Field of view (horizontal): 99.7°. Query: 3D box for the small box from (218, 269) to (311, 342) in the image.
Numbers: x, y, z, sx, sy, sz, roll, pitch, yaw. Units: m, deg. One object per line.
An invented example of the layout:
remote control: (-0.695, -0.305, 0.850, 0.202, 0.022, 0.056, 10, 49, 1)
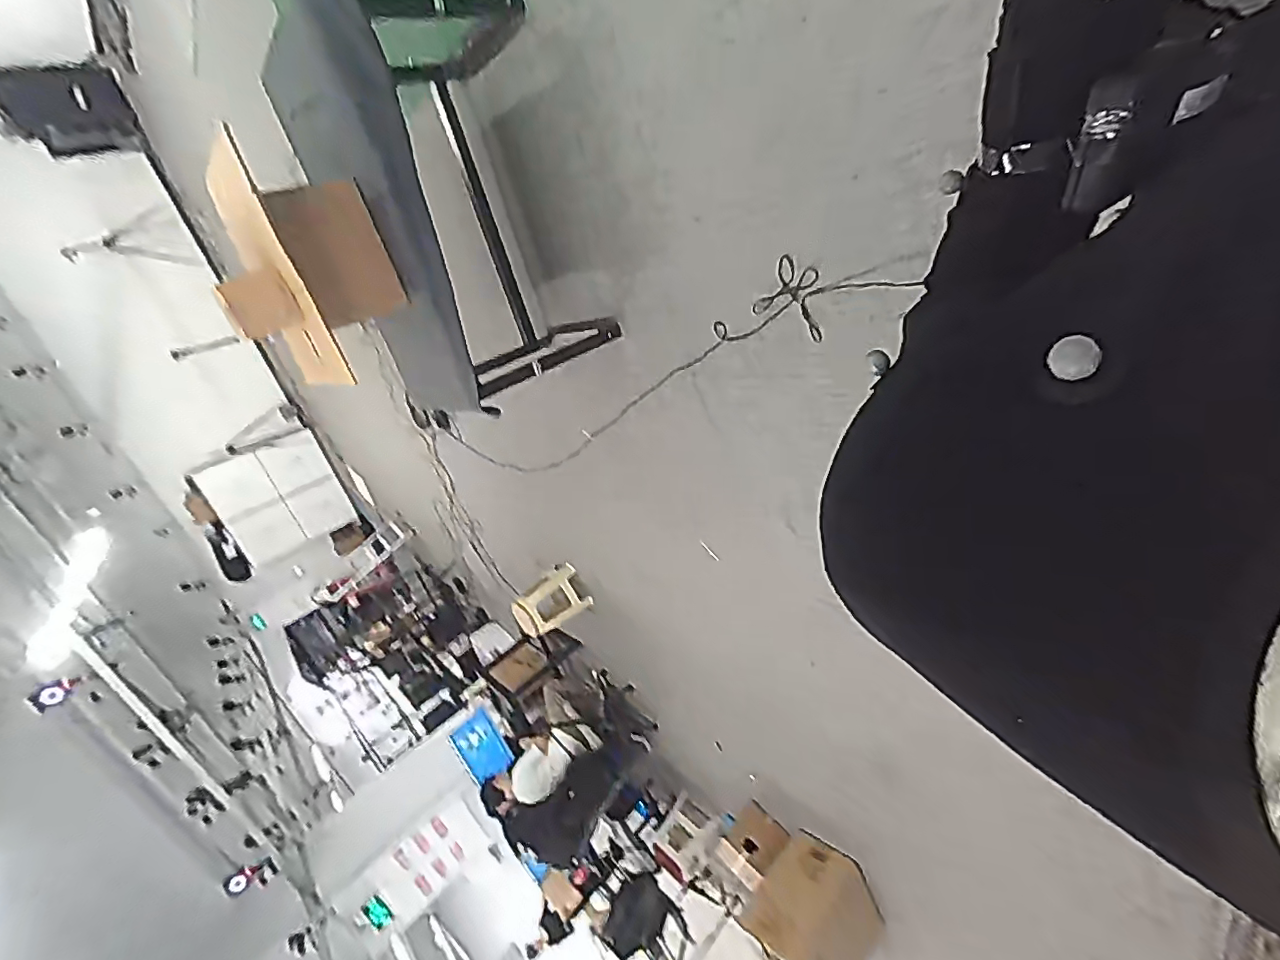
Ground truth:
small box: (-1.137, -0.531, 1.646, 0.179, 0.176, 0.168, 13, 129, 48)
